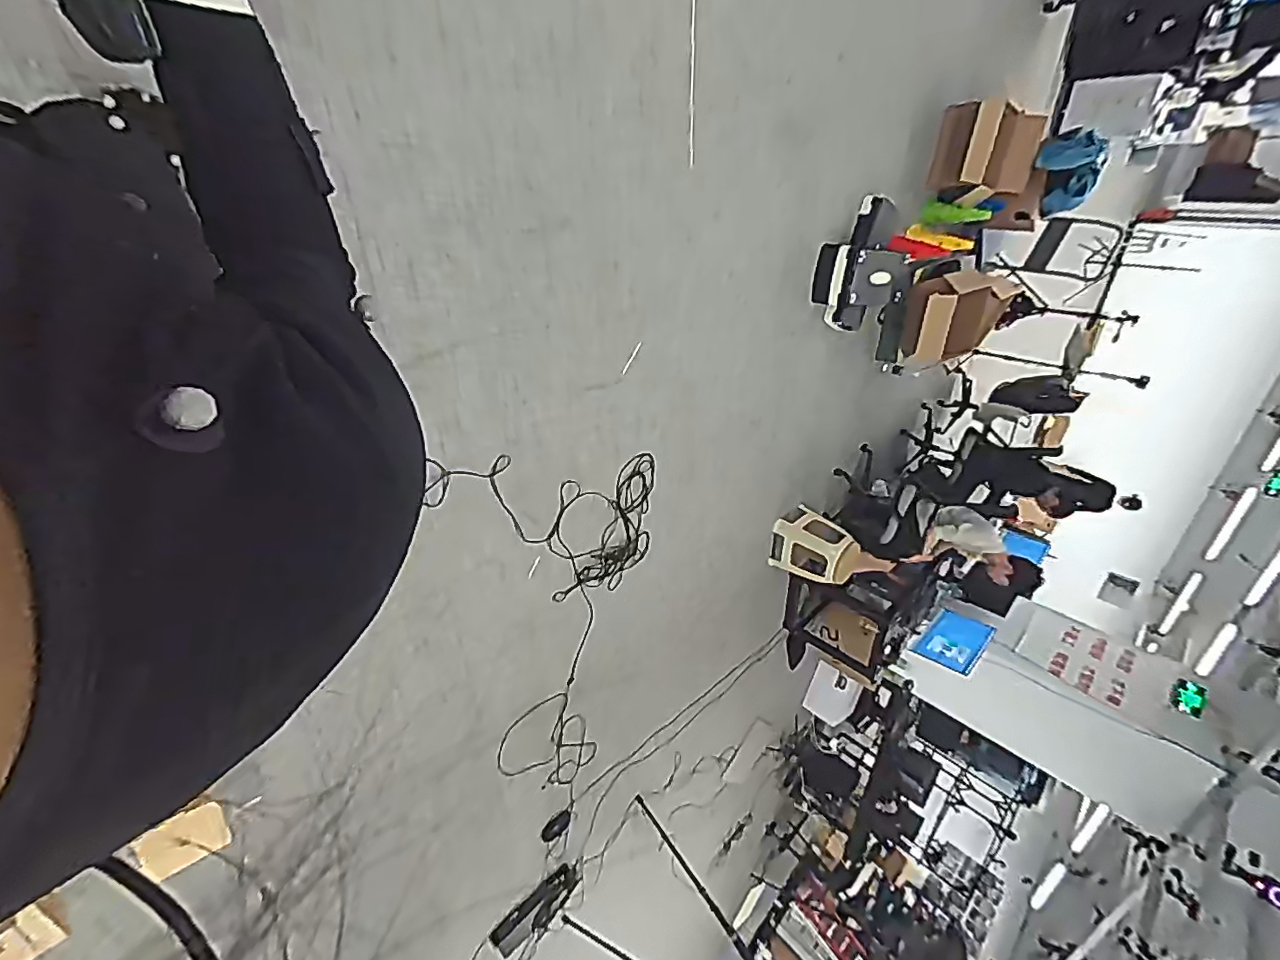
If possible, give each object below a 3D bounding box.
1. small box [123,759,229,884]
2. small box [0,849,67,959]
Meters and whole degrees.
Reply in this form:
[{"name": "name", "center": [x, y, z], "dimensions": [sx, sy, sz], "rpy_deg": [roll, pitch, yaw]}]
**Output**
[{"name": "small box", "center": [-1.193, 0.870, 1.393], "dimensions": [0.168, 0.176, 0.179], "rpy_deg": [-20, 124, -41]}, {"name": "small box", "center": [-1.421, 0.967, 1.192], "dimensions": [0.168, 0.176, 0.179], "rpy_deg": [-25, 128, -38]}]
